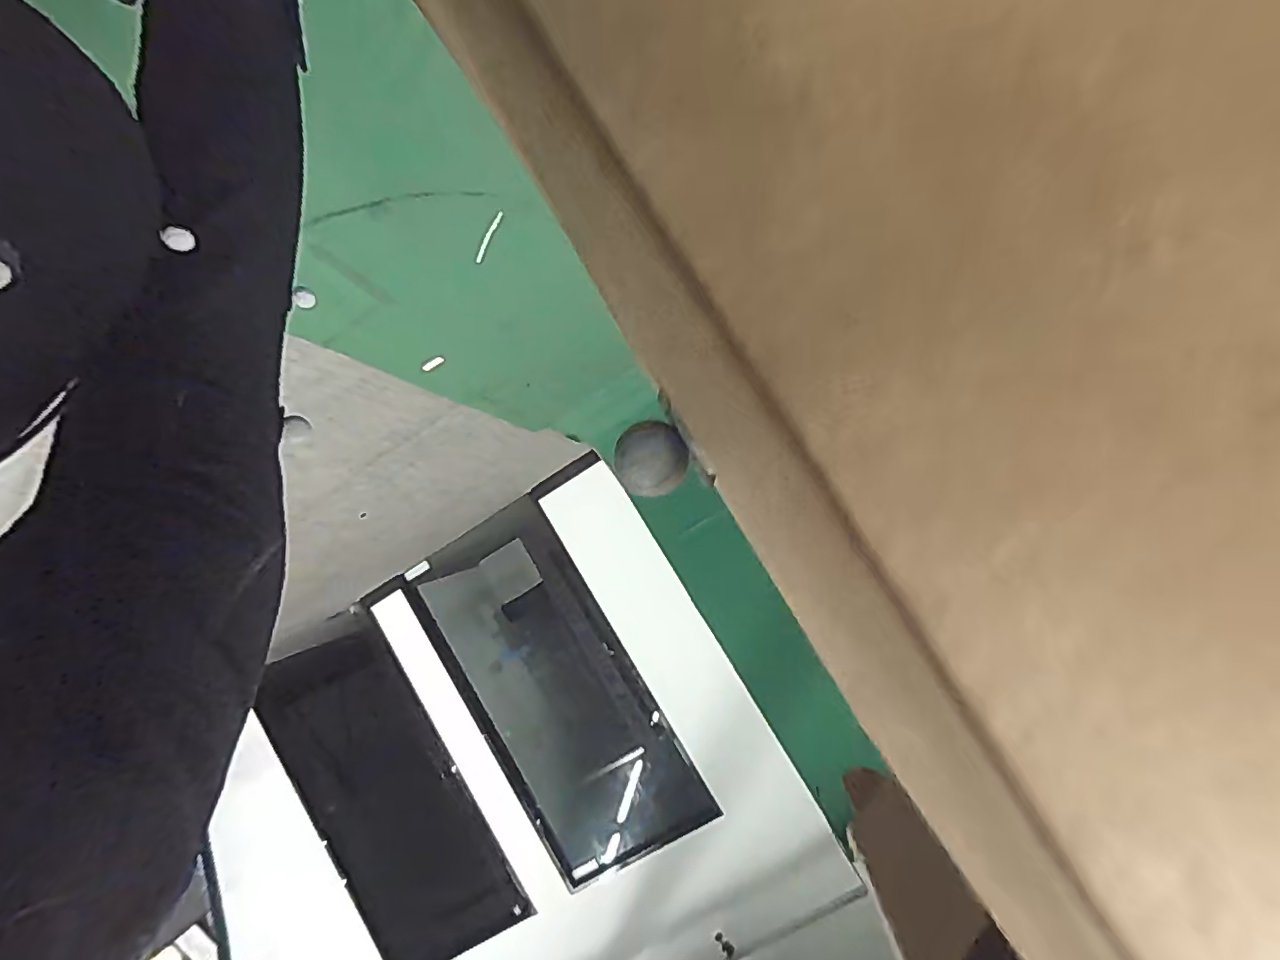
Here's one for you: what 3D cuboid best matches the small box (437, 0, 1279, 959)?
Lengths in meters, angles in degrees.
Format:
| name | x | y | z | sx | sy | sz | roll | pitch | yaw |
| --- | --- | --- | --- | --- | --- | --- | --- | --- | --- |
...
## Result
| name | x | y | z | sx | sy | sz | roll | pitch | yaw |
| --- | --- | --- | --- | --- | --- | --- | --- | --- | --- |
| small box | 0.096 | -0.038 | 0.101 | 0.179 | 0.176 | 0.168 | -32 | 177 | 5 |
